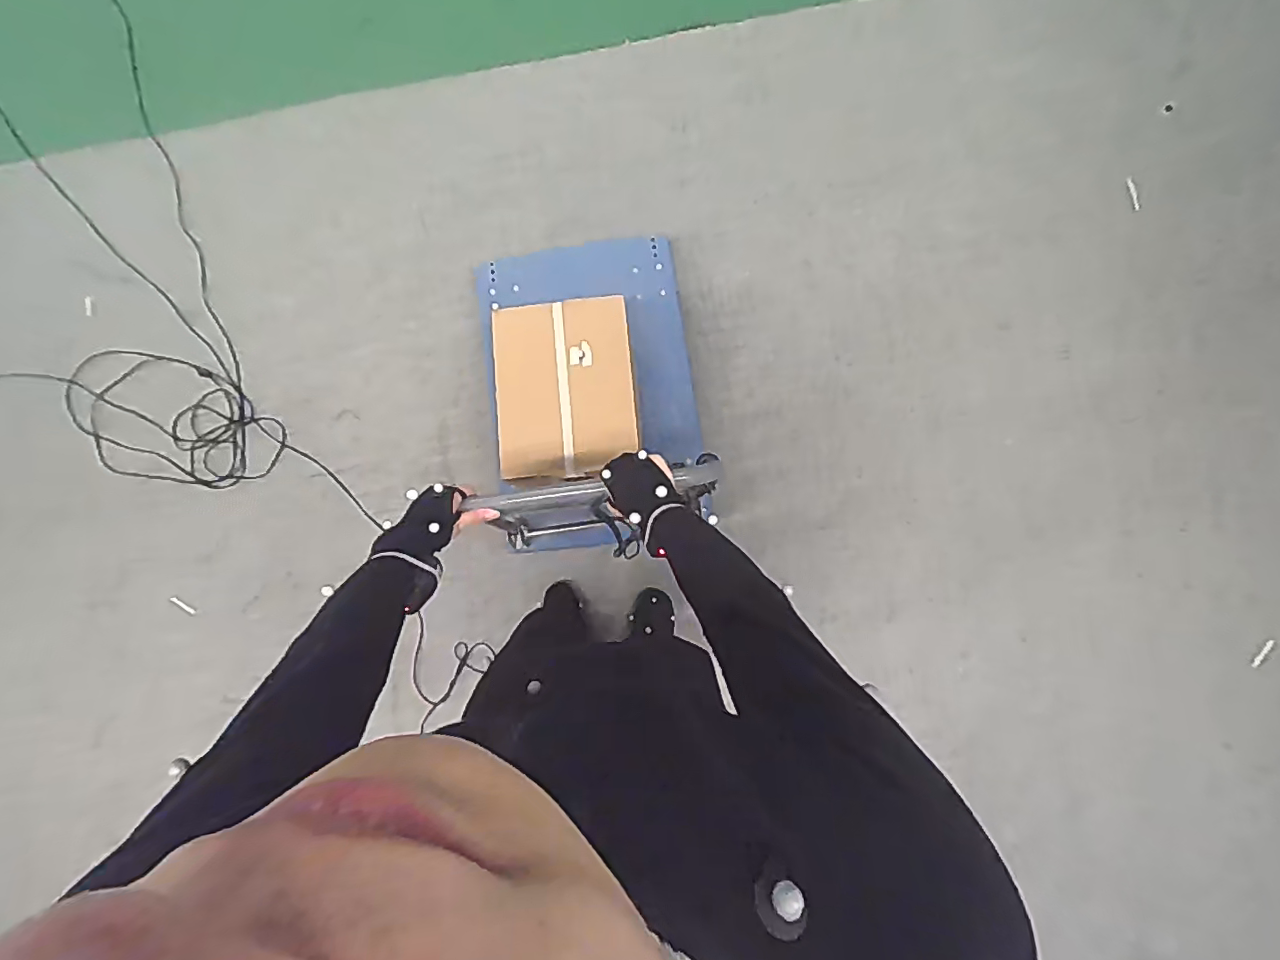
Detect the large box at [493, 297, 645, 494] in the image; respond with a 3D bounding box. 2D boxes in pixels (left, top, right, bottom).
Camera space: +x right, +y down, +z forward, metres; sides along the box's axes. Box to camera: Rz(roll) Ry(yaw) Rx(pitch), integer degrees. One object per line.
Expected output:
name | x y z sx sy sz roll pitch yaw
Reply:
large box | -0.164 -0.191 1.372 0.320 0.320 0.408 -5 81 2
